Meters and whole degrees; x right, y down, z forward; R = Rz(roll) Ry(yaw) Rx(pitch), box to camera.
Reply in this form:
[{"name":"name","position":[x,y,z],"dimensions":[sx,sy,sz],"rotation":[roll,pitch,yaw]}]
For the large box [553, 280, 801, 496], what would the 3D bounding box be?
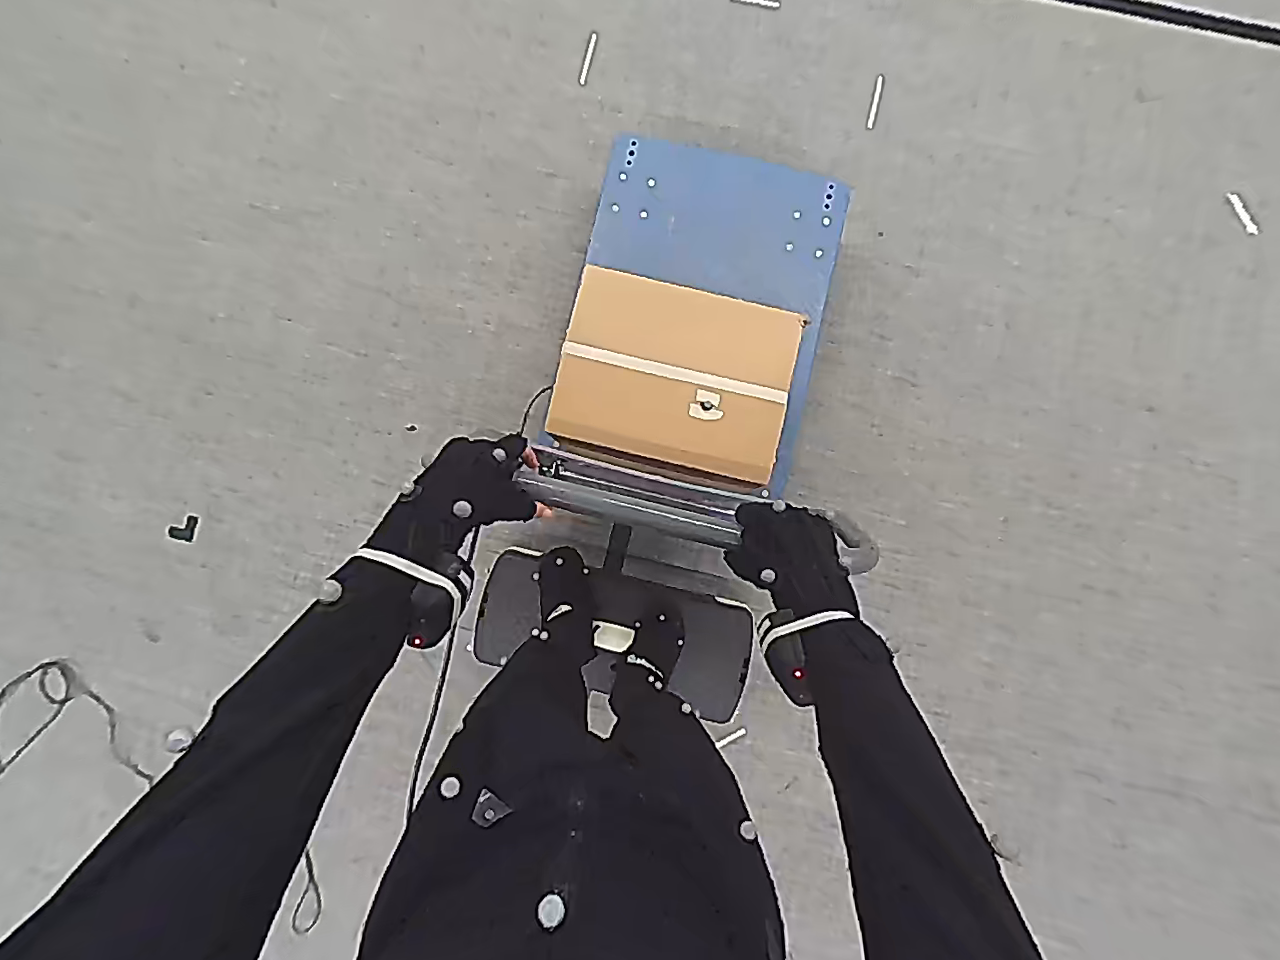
[{"name":"large box","position":[0.065,-0.164,1.121],"dimensions":[0.408,0.320,0.320],"rotation":[14,86,1]}]
